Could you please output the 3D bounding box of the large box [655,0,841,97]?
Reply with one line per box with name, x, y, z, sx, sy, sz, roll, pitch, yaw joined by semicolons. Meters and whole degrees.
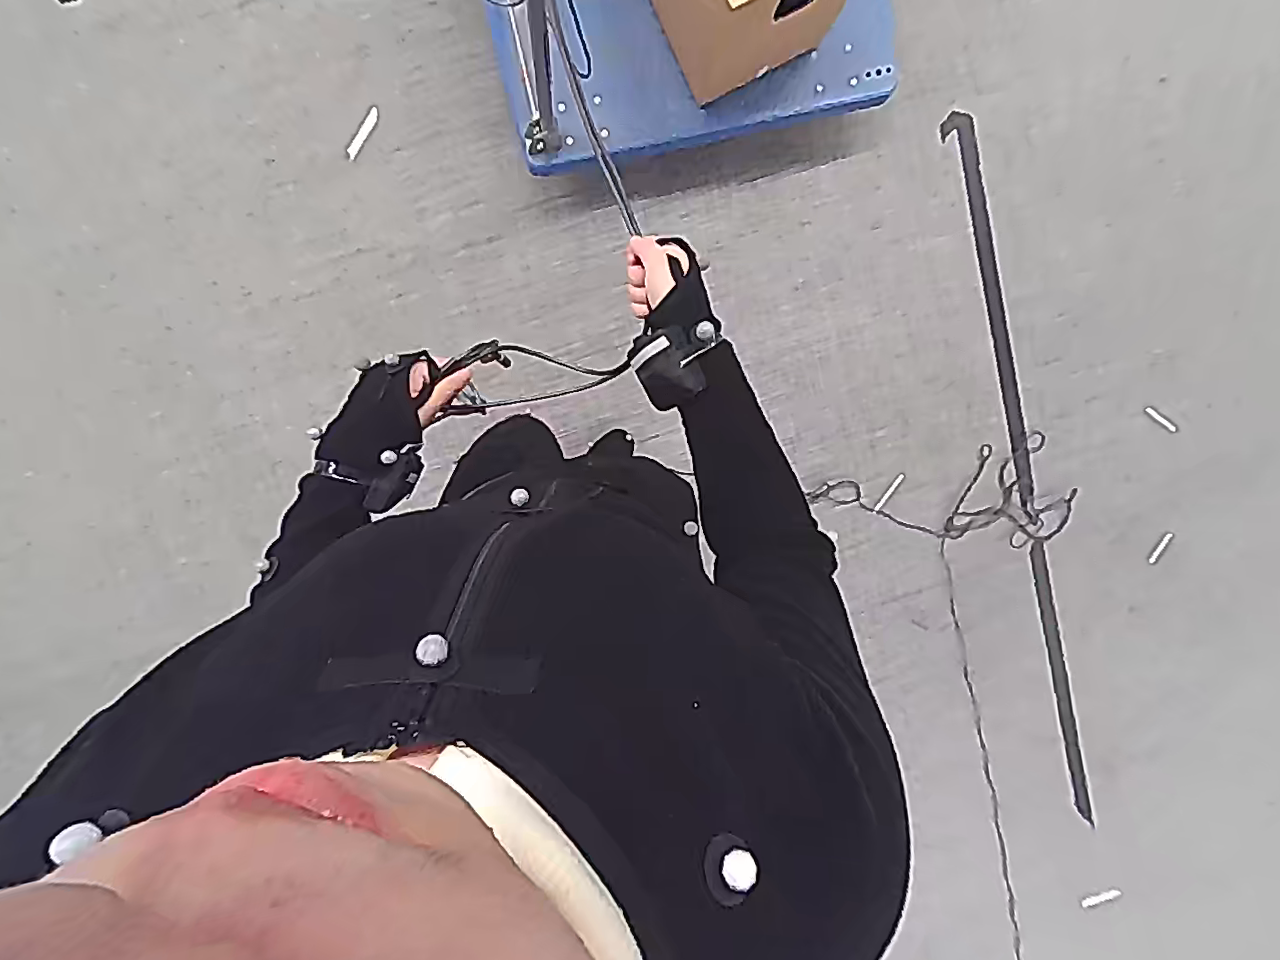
large box;0.185;-1.058;1.013;0.320;0.320;0.408;-28;101;1
